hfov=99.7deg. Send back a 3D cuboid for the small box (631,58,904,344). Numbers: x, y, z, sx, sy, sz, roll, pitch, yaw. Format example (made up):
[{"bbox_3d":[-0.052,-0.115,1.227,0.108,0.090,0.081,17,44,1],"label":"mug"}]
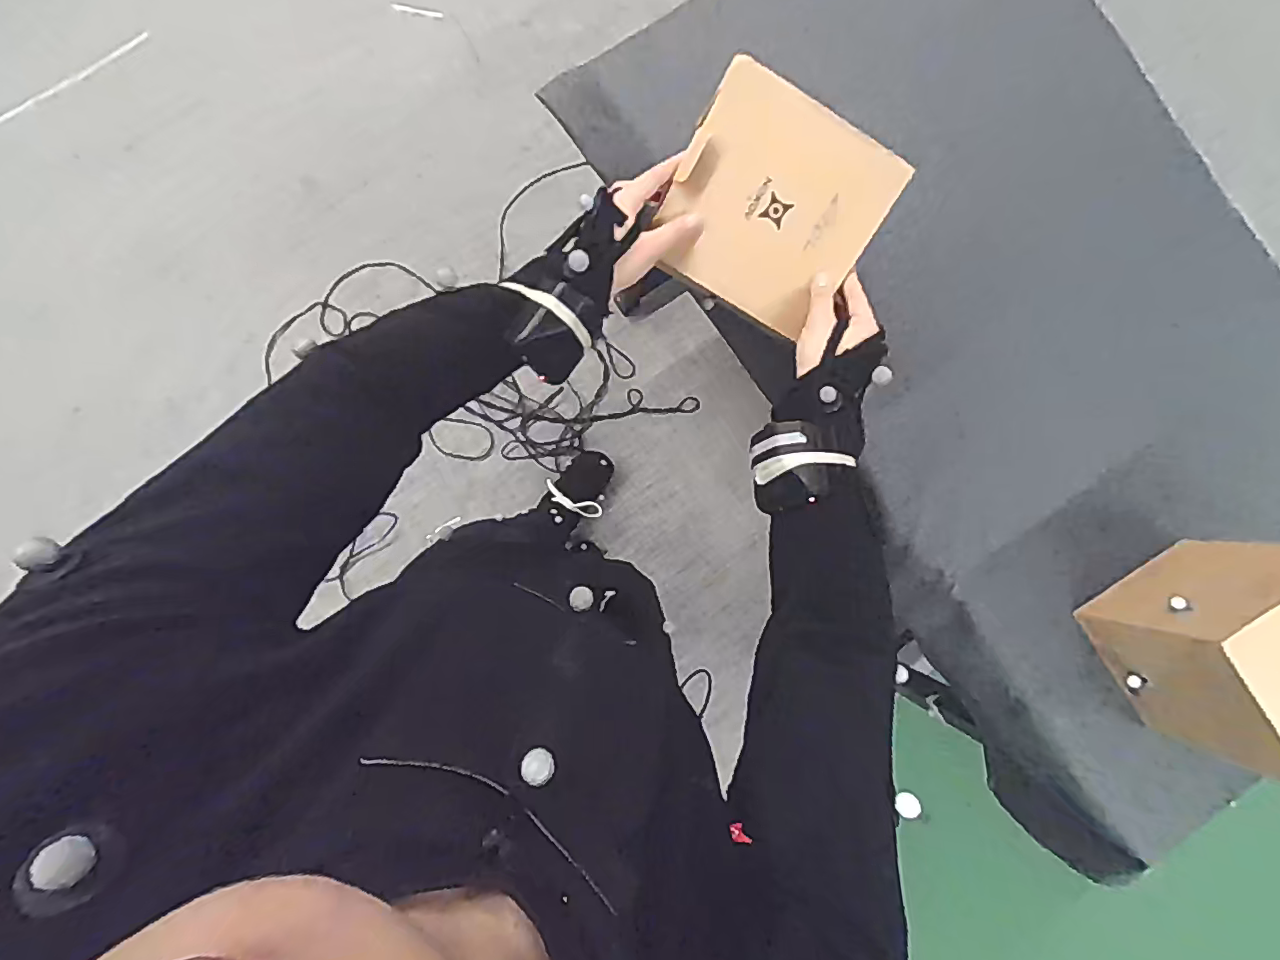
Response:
[{"bbox_3d":[0.107,-0.252,0.533,0.179,0.176,0.168,27,108,-7],"label":"small box"}]
